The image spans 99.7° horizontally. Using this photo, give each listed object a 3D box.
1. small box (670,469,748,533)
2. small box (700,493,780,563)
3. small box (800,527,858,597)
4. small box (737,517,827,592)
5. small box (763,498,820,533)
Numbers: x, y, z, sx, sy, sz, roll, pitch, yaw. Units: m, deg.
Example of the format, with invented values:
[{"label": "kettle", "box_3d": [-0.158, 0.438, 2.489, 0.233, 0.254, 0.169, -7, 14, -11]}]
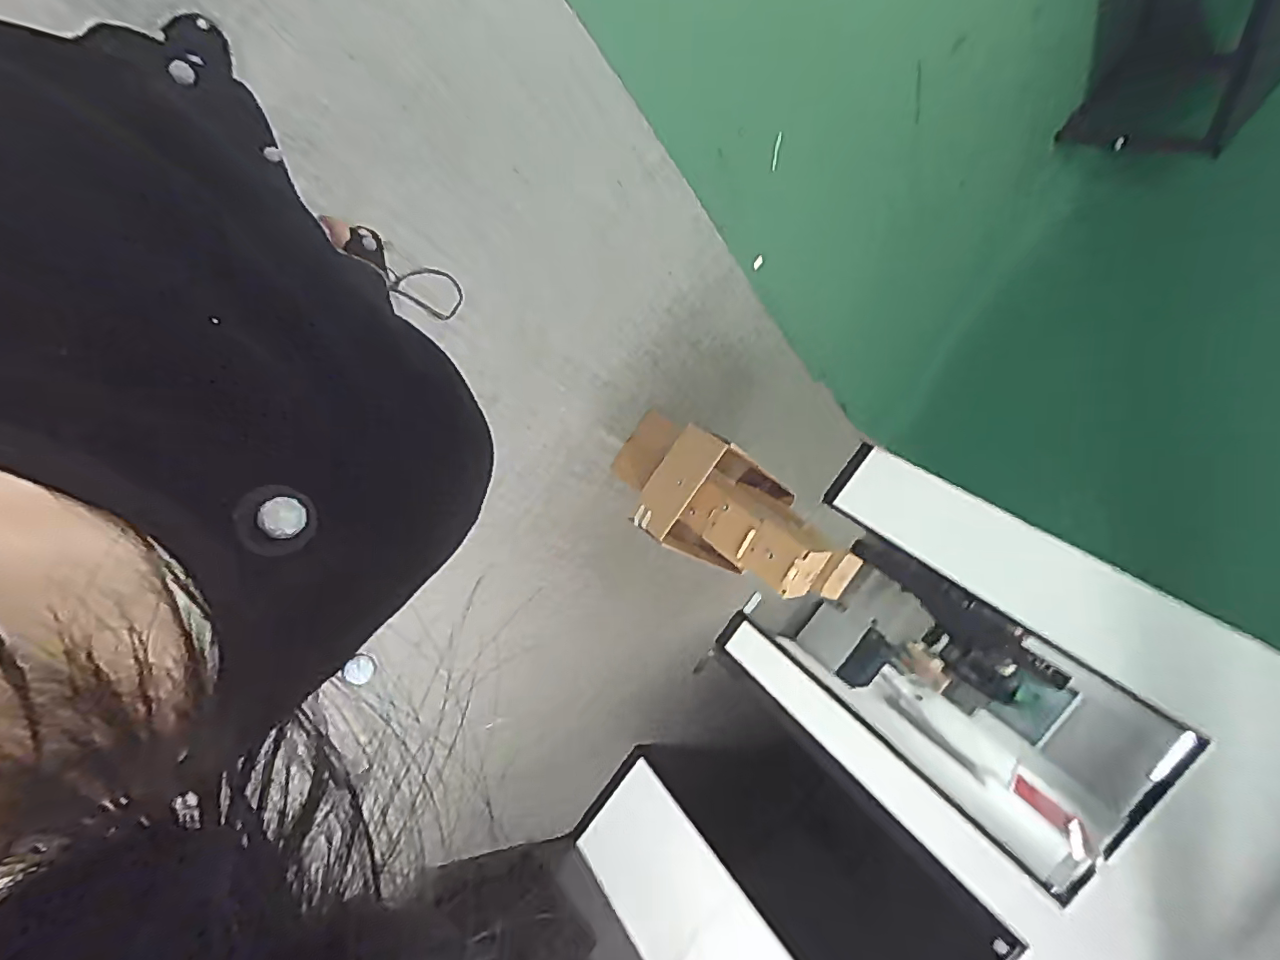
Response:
[{"label": "small box", "box_3d": [0.234, 0.075, 1.873, 0.179, 0.176, 0.168, 9, 114, -47]}, {"label": "small box", "box_3d": [0.329, 0.156, 1.767, 0.179, 0.176, 0.168, 8, 115, -47]}, {"label": "small box", "box_3d": [0.614, 0.280, 1.867, 0.179, 0.176, 0.168, 24, 100, -48]}, {"label": "small box", "box_3d": [0.432, 0.227, 1.660, 0.179, 0.176, 0.168, 12, 112, -46]}, {"label": "small box", "box_3d": [0.512, 0.193, 1.964, 0.168, 0.176, 0.179, 21, 103, -49]}]
